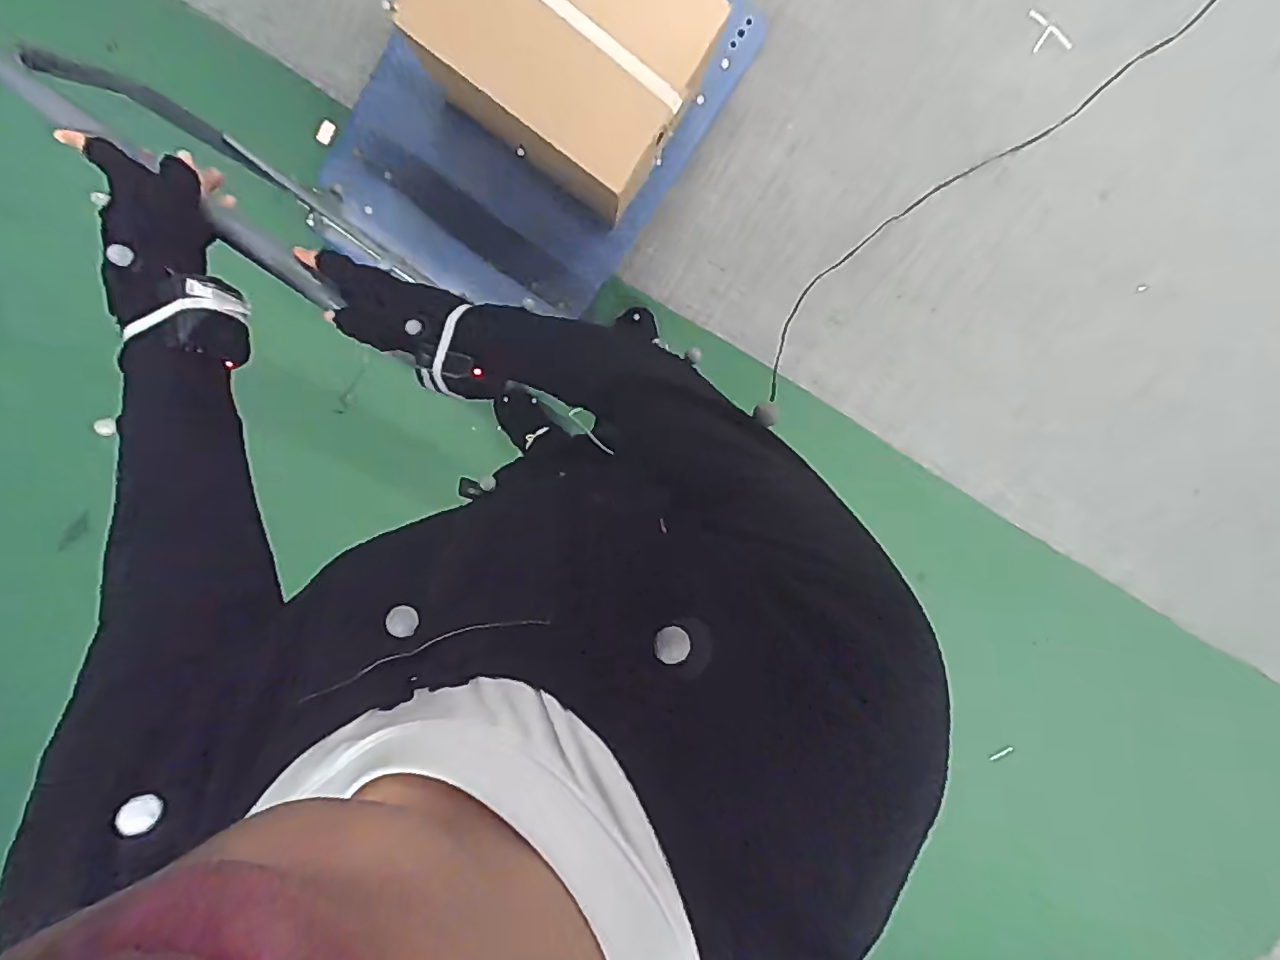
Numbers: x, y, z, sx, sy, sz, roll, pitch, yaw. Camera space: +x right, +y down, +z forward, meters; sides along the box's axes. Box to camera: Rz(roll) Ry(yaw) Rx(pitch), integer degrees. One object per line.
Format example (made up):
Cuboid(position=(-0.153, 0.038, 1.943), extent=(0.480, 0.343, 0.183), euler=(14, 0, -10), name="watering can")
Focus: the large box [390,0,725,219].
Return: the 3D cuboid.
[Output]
Cuboid(position=(-0.123, -0.728, 0.936), extent=(0.408, 0.320, 0.320), euler=(34, 101, -12), name="large box")
